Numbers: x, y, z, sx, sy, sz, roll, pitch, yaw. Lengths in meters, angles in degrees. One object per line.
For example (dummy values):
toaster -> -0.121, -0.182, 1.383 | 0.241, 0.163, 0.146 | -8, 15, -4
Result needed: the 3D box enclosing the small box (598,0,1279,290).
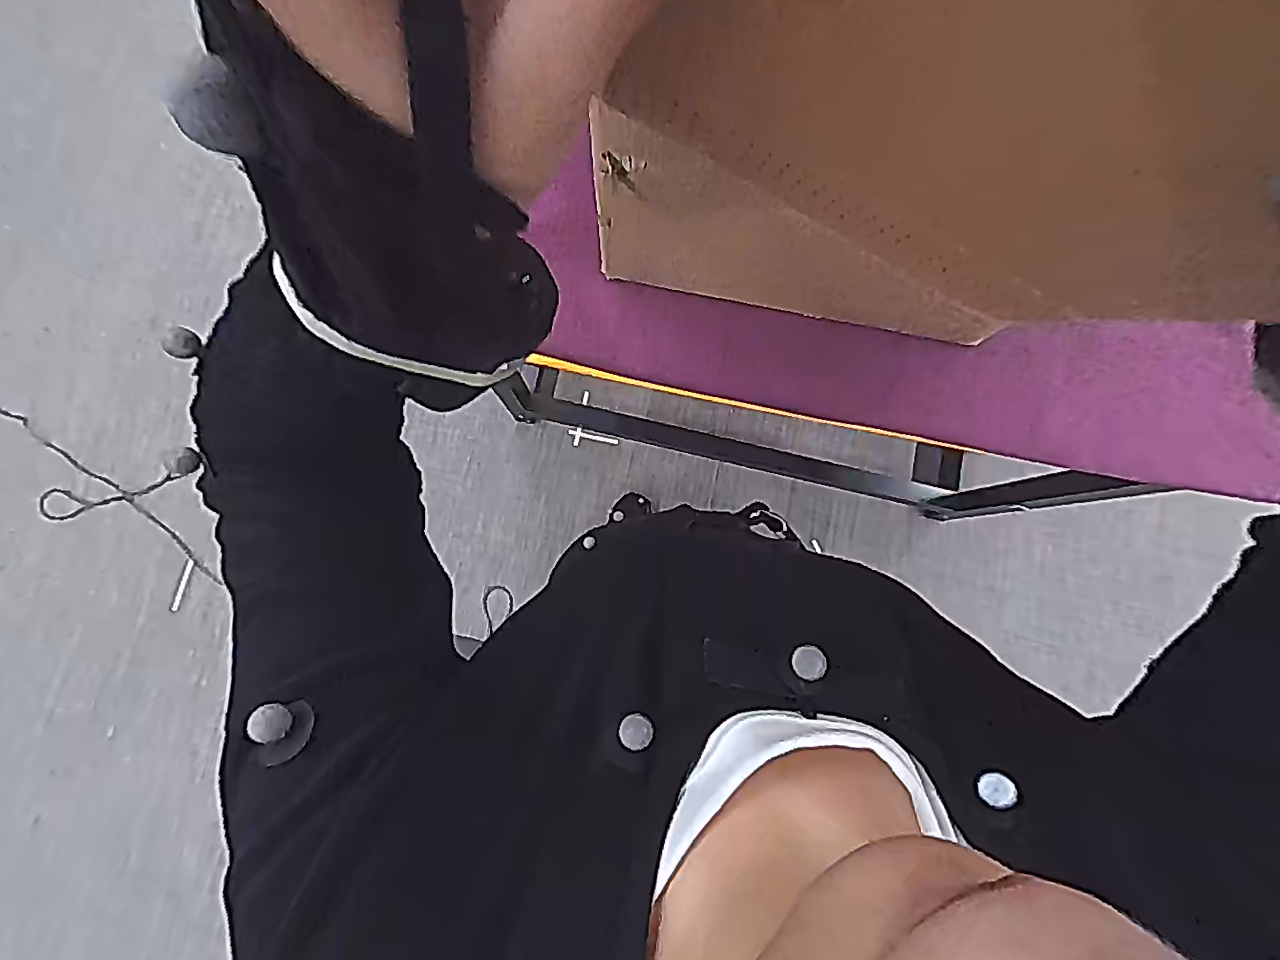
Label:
small box -> 0.097, -0.145, 0.095 | 0.179, 0.176, 0.168 | 24, 105, -10
